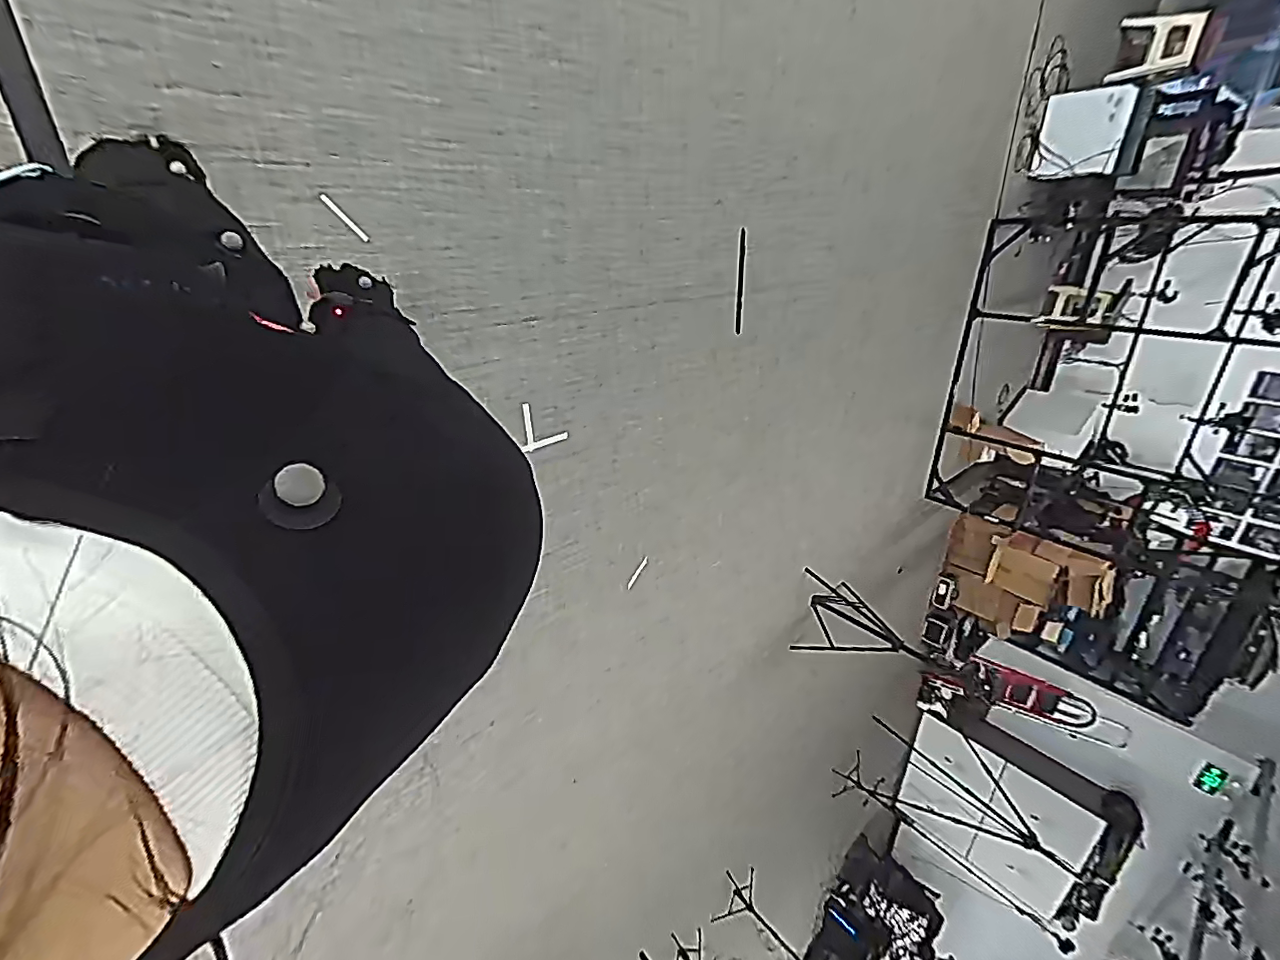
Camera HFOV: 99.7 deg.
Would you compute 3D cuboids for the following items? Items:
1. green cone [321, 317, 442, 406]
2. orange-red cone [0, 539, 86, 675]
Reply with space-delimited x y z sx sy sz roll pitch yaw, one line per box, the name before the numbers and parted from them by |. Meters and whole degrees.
green cone | -0.542 -0.237 1.209 0.202 0.368 0.200 -20 122 -38
orange-red cone | -1.105 0.270 0.911 0.199 0.360 0.198 -14 116 -38
